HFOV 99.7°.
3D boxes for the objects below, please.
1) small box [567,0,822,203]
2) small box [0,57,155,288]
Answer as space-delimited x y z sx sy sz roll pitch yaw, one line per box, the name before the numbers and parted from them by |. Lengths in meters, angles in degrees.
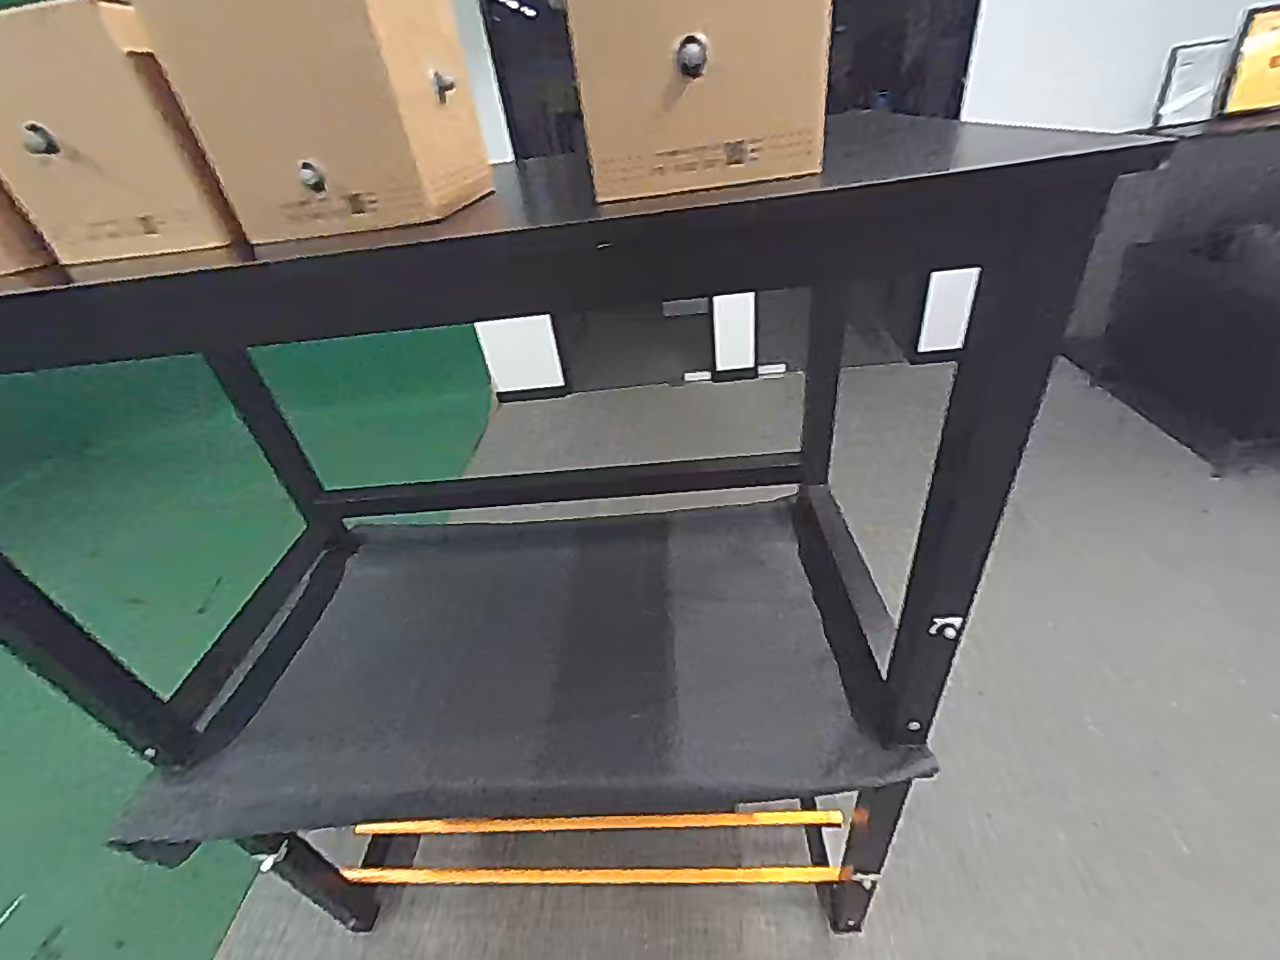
small box | 0.044 -0.326 0.425 0.168 0.176 0.179 -4 35 6
small box | -0.631 -0.289 0.518 0.168 0.176 0.179 -4 36 7
